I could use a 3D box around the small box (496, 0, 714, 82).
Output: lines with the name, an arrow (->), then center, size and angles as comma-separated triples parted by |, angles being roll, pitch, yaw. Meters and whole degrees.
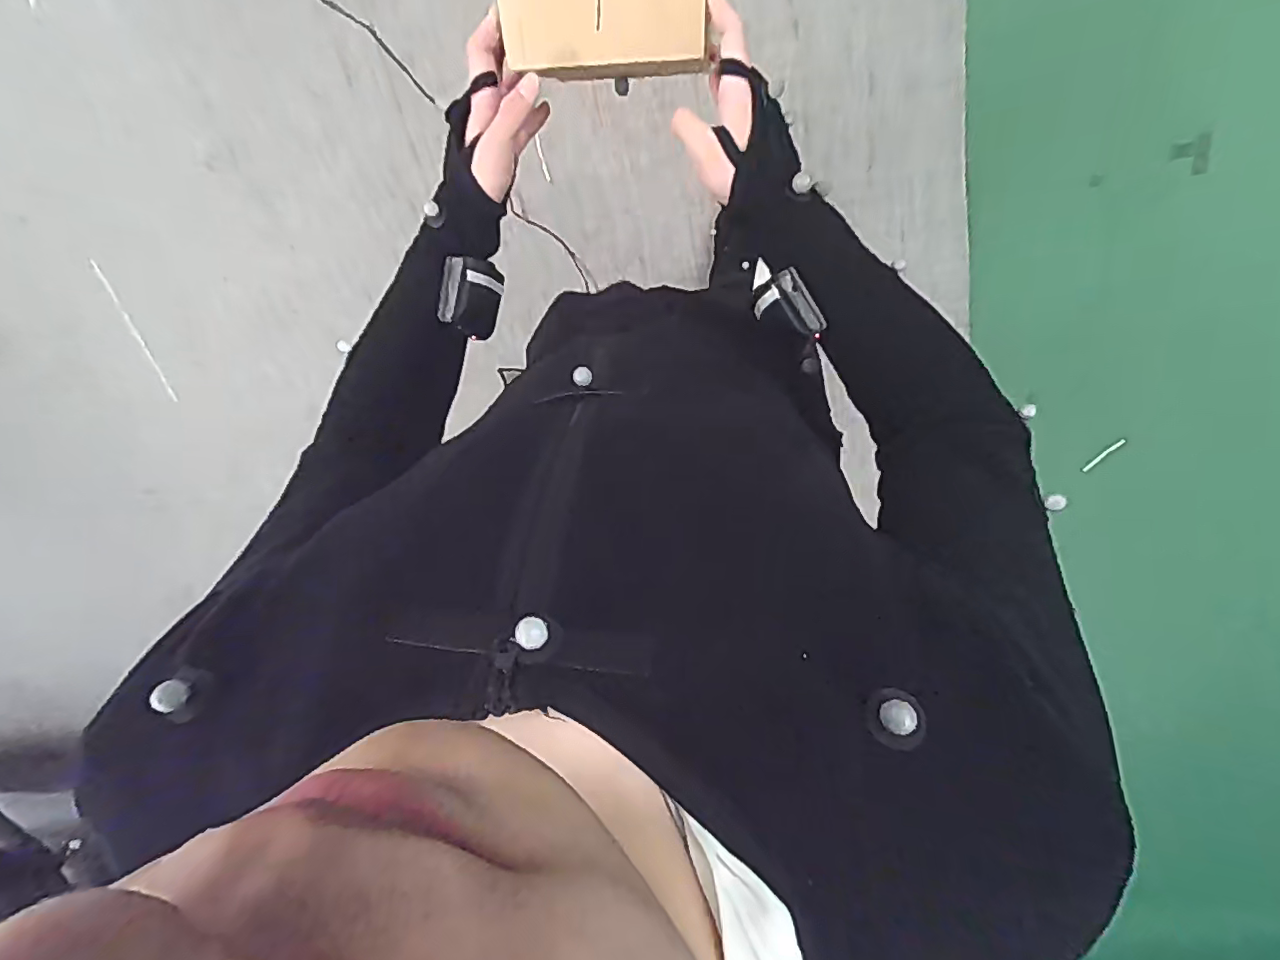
small box -> -0.022, -0.452, 0.455 | 0.168, 0.176, 0.179 | 3, 124, 9
